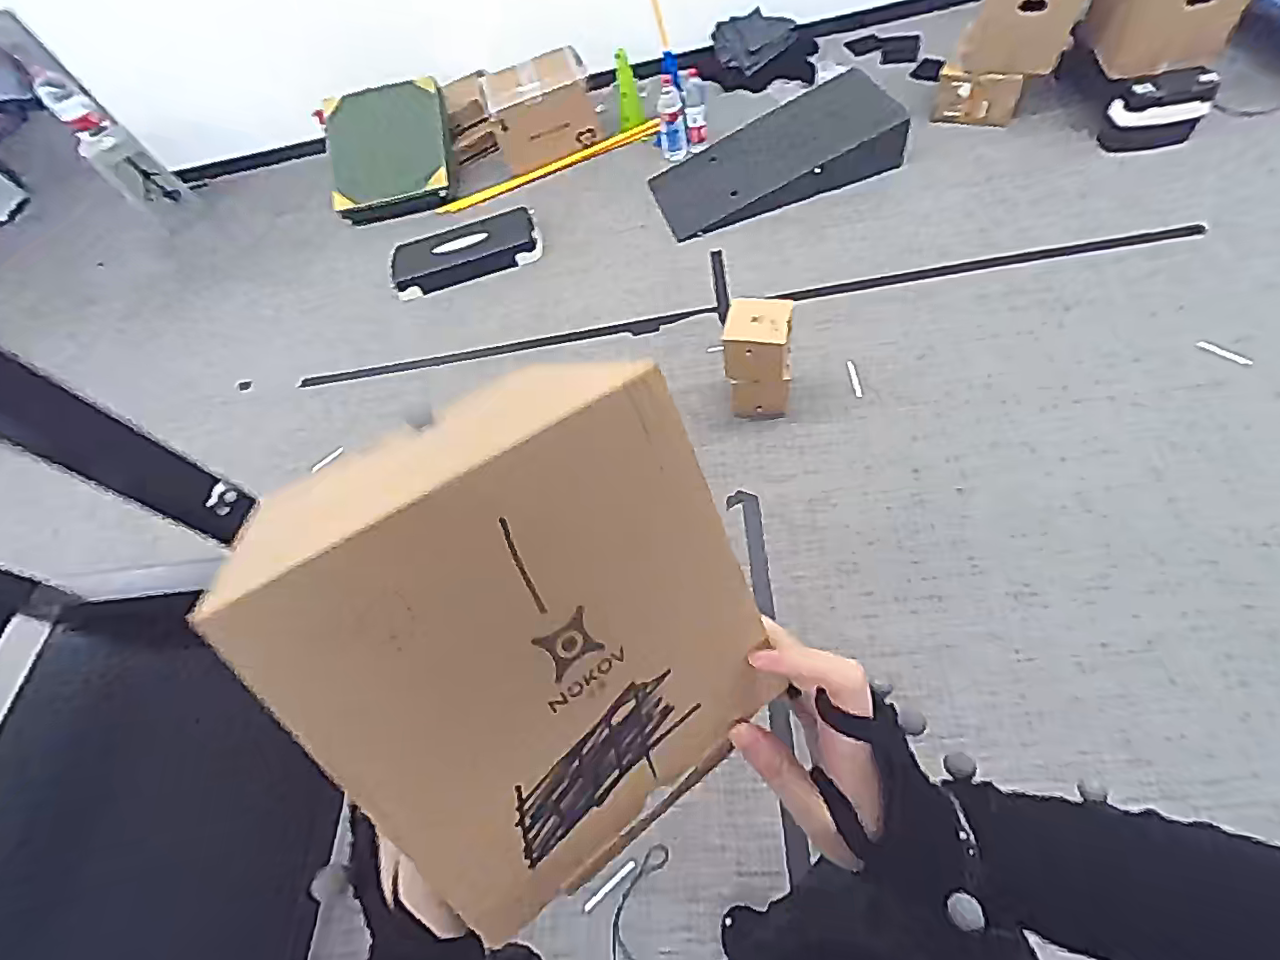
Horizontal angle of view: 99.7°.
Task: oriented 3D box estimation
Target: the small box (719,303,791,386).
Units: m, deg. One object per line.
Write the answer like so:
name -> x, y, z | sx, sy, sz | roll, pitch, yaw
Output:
small box -> 0.337, -0.393, 1.576 | 0.179, 0.176, 0.168 | 9, 63, 17

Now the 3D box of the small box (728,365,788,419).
small box -> 0.368, -0.307, 1.714 | 0.179, 0.176, 0.168 | -2, 59, 10
